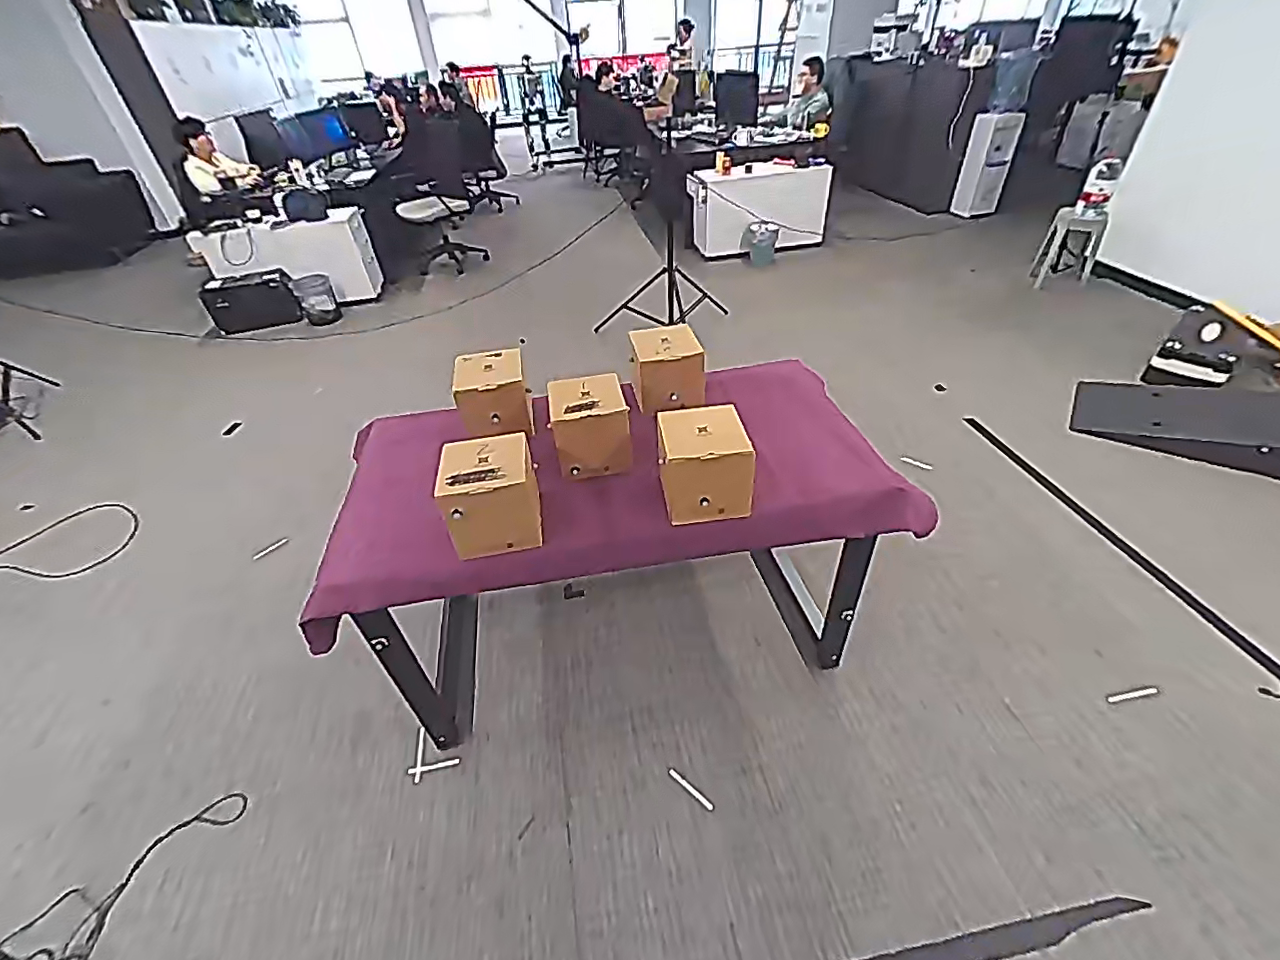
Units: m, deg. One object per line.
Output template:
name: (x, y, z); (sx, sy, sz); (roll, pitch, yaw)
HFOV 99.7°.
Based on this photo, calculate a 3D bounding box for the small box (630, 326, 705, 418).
small box: (0.071, -0.287, 1.440); (0.168, 0.176, 0.179); (-10, 41, -5)

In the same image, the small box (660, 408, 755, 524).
small box: (0.133, -0.030, 1.128); (0.168, 0.176, 0.179); (-6, 39, -2)

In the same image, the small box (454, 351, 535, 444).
small box: (-0.366, -0.205, 1.384); (0.168, 0.176, 0.179); (-9, 42, -7)

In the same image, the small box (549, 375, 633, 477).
small box: (-0.114, -0.120, 1.261); (0.168, 0.176, 0.179); (-9, 39, -5)
